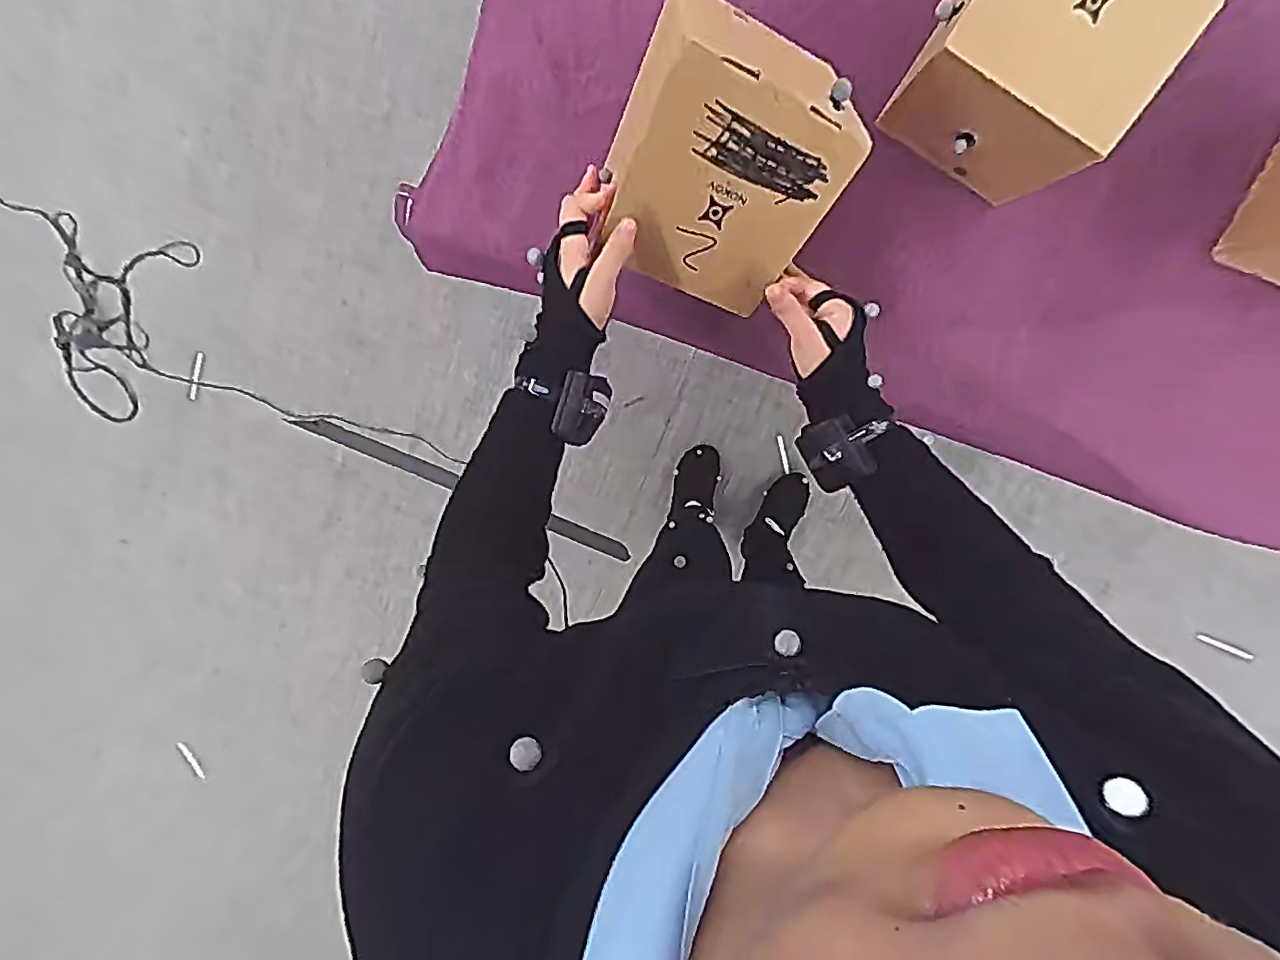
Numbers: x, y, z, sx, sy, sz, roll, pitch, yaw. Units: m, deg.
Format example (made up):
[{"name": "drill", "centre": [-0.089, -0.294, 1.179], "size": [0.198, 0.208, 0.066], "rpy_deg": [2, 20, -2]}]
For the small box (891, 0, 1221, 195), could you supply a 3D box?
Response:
[{"name": "small box", "centre": [0.364, -0.400, 0.499], "size": [0.168, 0.176, 0.179], "rpy_deg": [32, 104, -4]}]

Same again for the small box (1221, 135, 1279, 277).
[{"name": "small box", "centre": [0.721, -0.277, 0.499], "size": [0.168, 0.176, 0.179], "rpy_deg": [21, 104, 1]}]
